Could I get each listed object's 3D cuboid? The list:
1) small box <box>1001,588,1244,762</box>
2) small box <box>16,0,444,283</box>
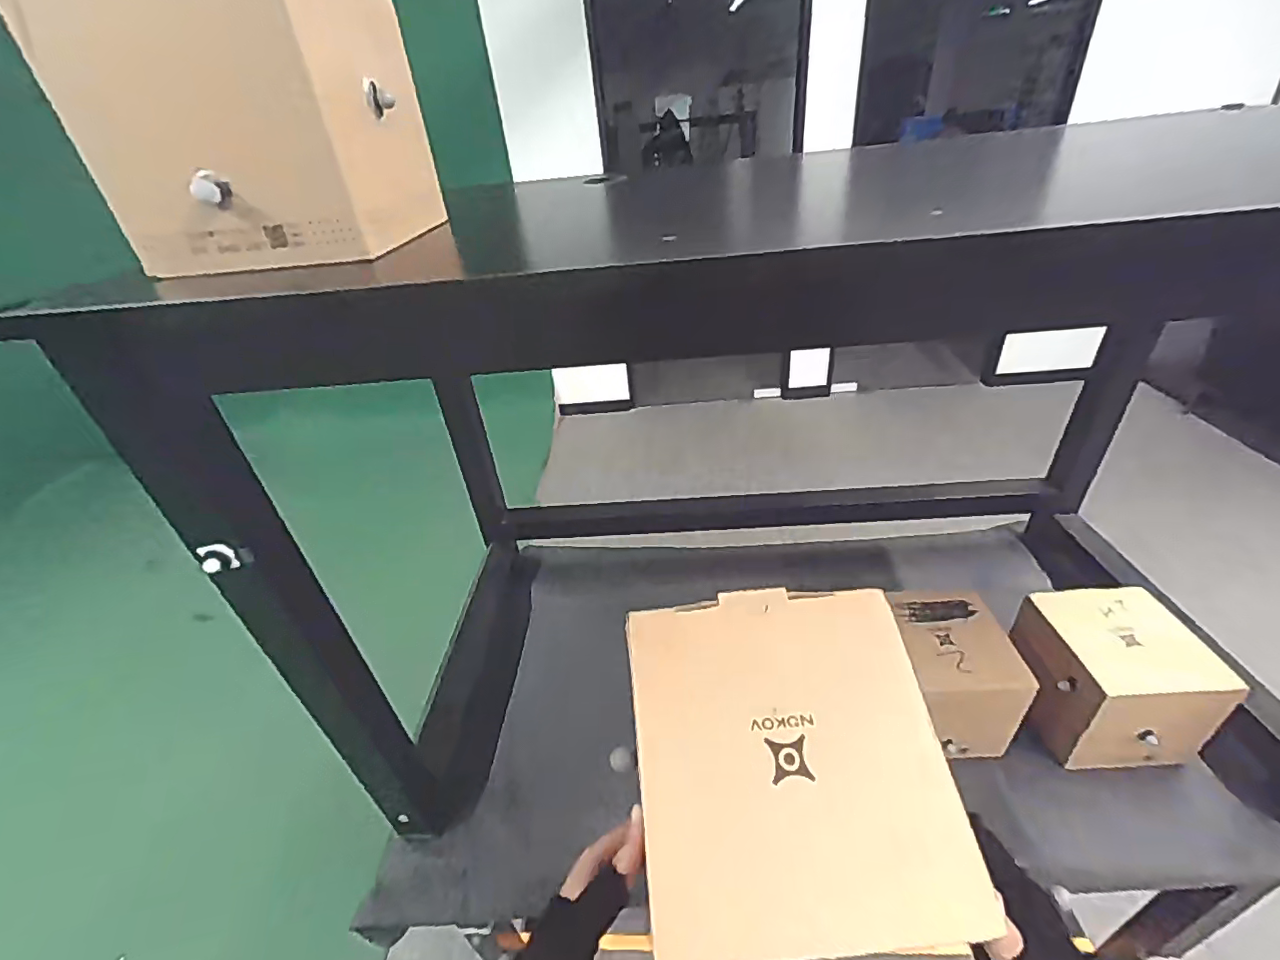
[{"bbox_3d":[0.659,0.279,0.770,0.168,0.176,0.179,-4,33,3],"label":"small box"},{"bbox_3d":[-0.266,-0.257,0.408,0.168,0.176,0.179,-4,35,3],"label":"small box"}]
